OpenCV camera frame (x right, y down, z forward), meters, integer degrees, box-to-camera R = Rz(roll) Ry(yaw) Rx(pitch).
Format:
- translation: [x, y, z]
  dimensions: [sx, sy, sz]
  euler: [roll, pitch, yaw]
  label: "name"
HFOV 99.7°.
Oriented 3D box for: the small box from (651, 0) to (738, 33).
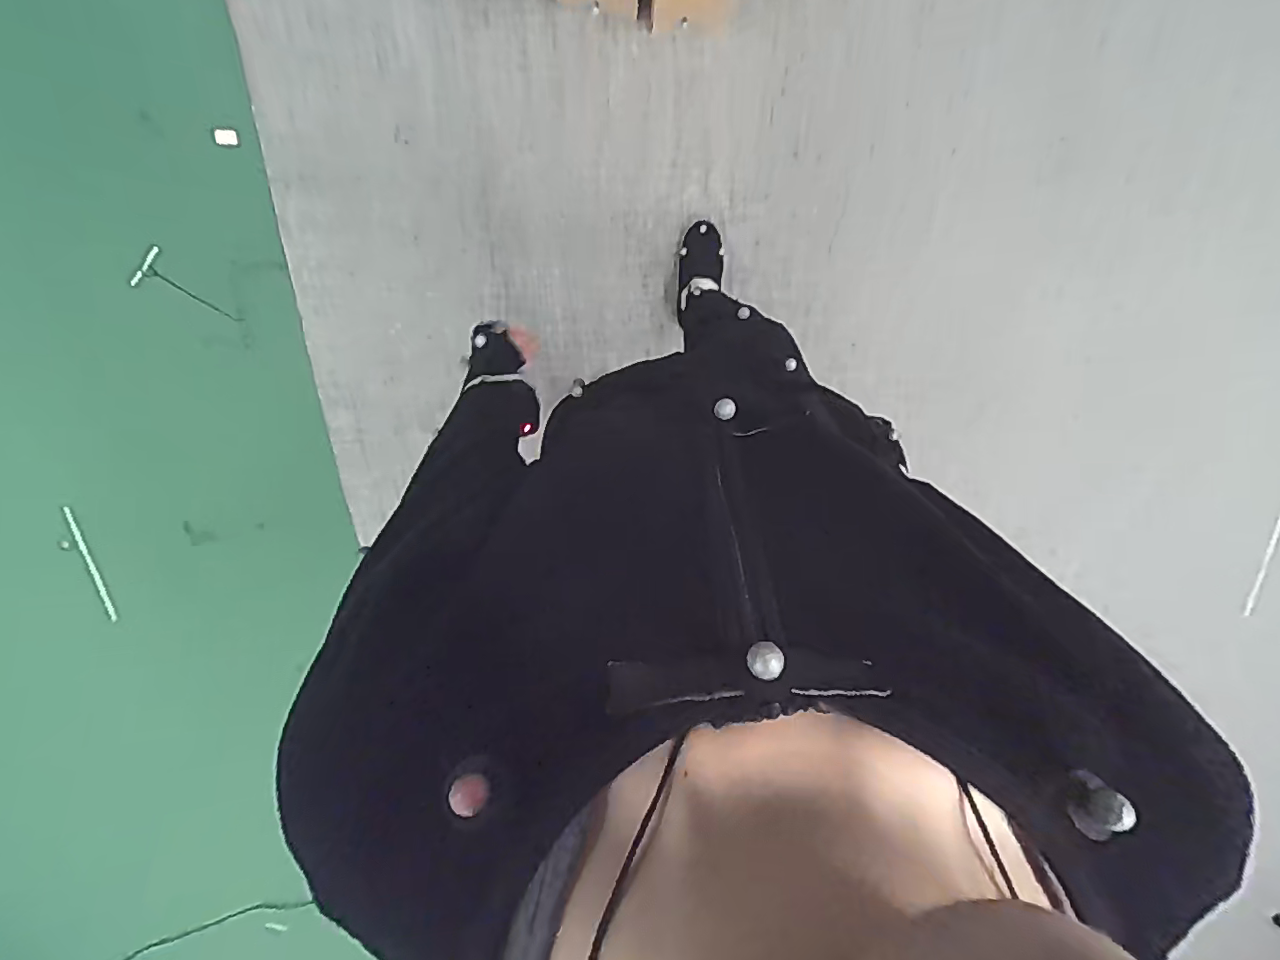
- translation: [0.107, -1.036, 1.080]
  dimensions: [0.168, 0.176, 0.179]
  euler: [-3, 111, 0]
  label: "small box"
